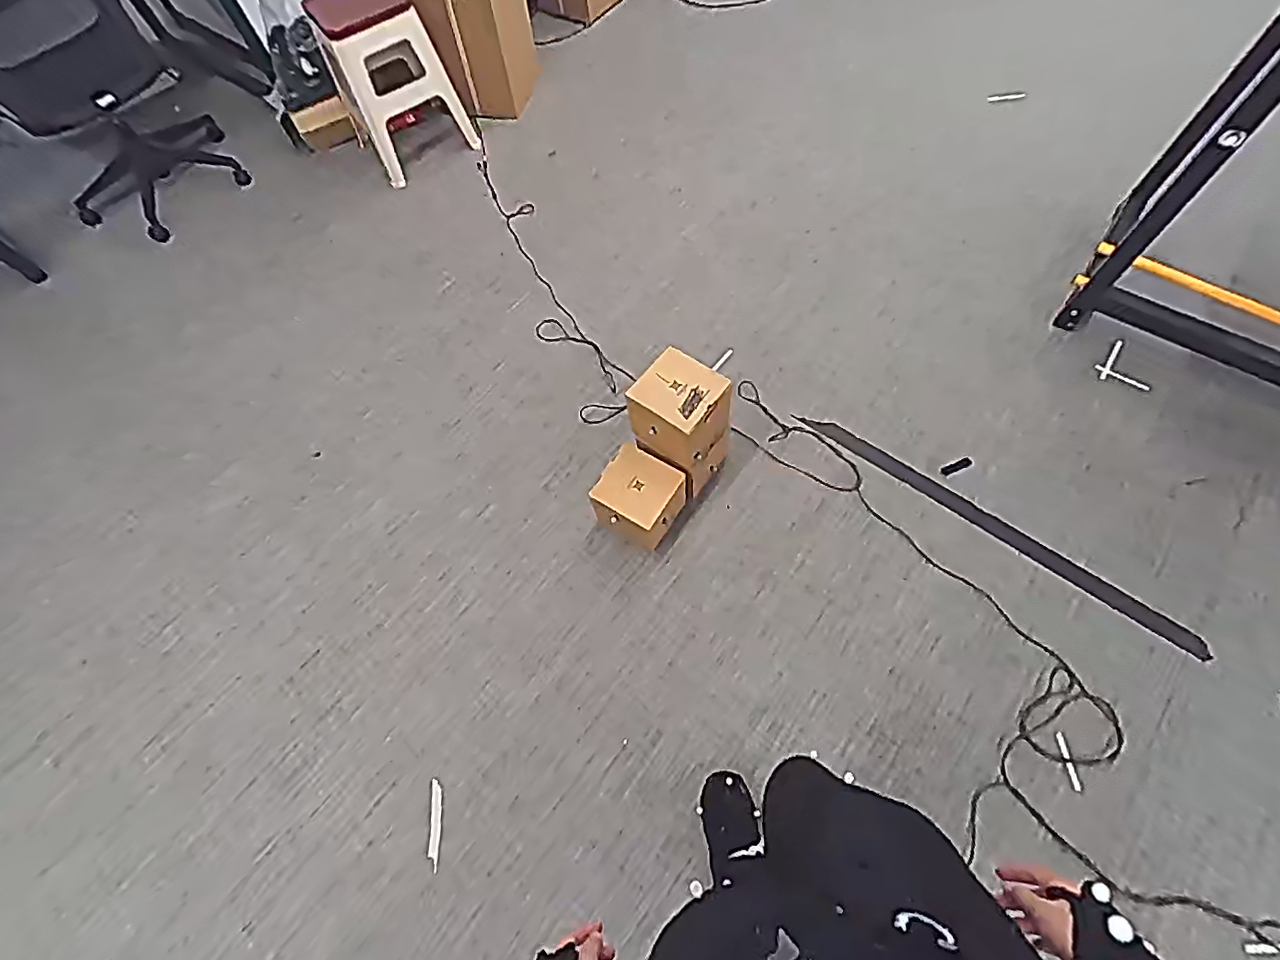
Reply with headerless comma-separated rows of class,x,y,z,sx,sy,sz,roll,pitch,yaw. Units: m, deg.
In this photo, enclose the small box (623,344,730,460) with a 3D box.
small box,0.086,-0.169,1.235,0.179,0.176,0.168,35,72,20
